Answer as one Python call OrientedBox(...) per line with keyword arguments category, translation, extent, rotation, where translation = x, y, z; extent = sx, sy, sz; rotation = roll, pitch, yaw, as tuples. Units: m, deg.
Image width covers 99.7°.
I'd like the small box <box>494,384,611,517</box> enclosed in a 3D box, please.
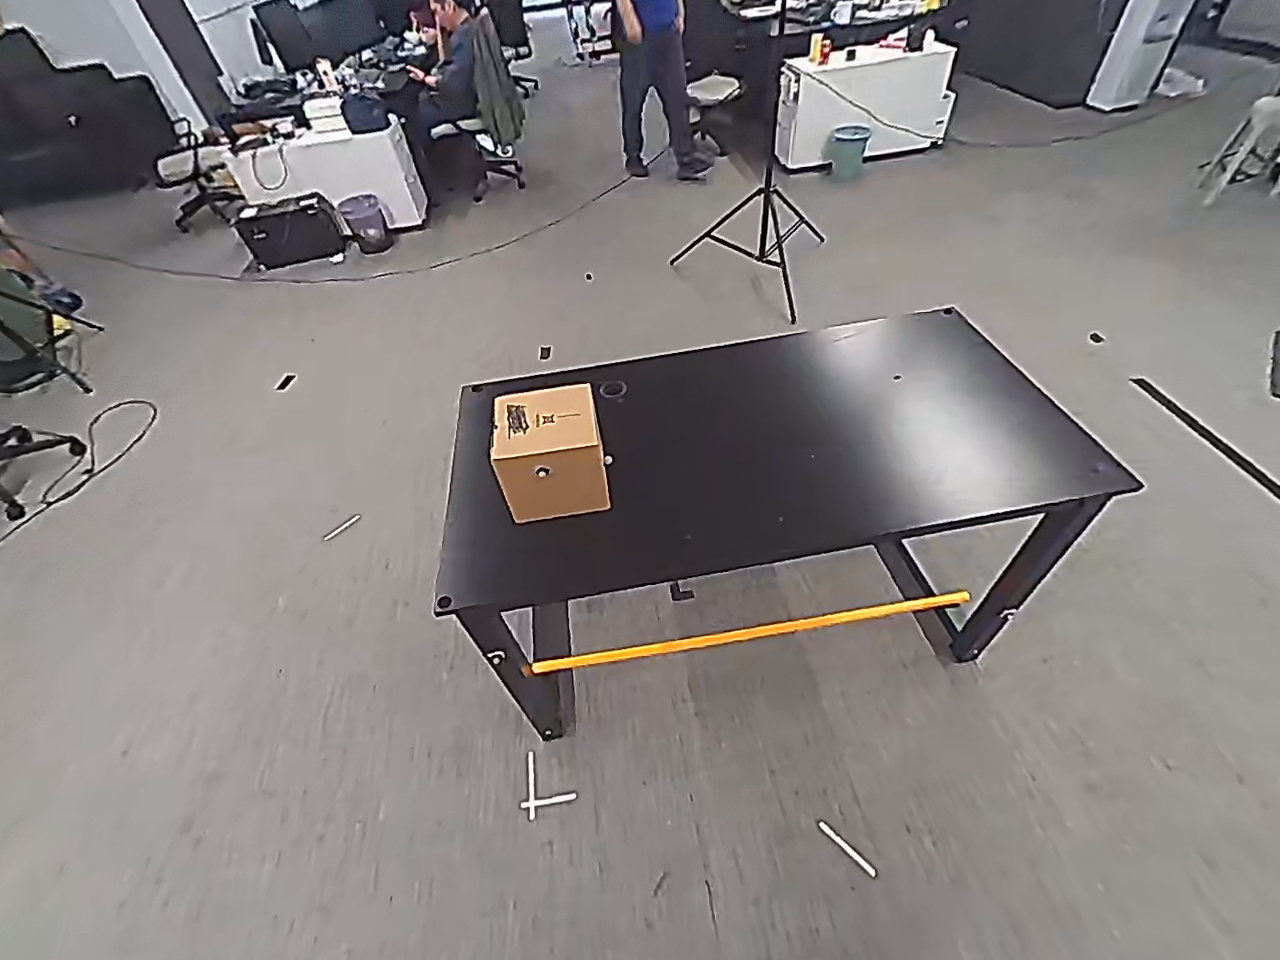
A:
OrientedBox(category="small box", translation=(-0.154, -0.050, 0.988), extent=(0.179, 0.176, 0.168), rotation=(-8, 48, -2))
